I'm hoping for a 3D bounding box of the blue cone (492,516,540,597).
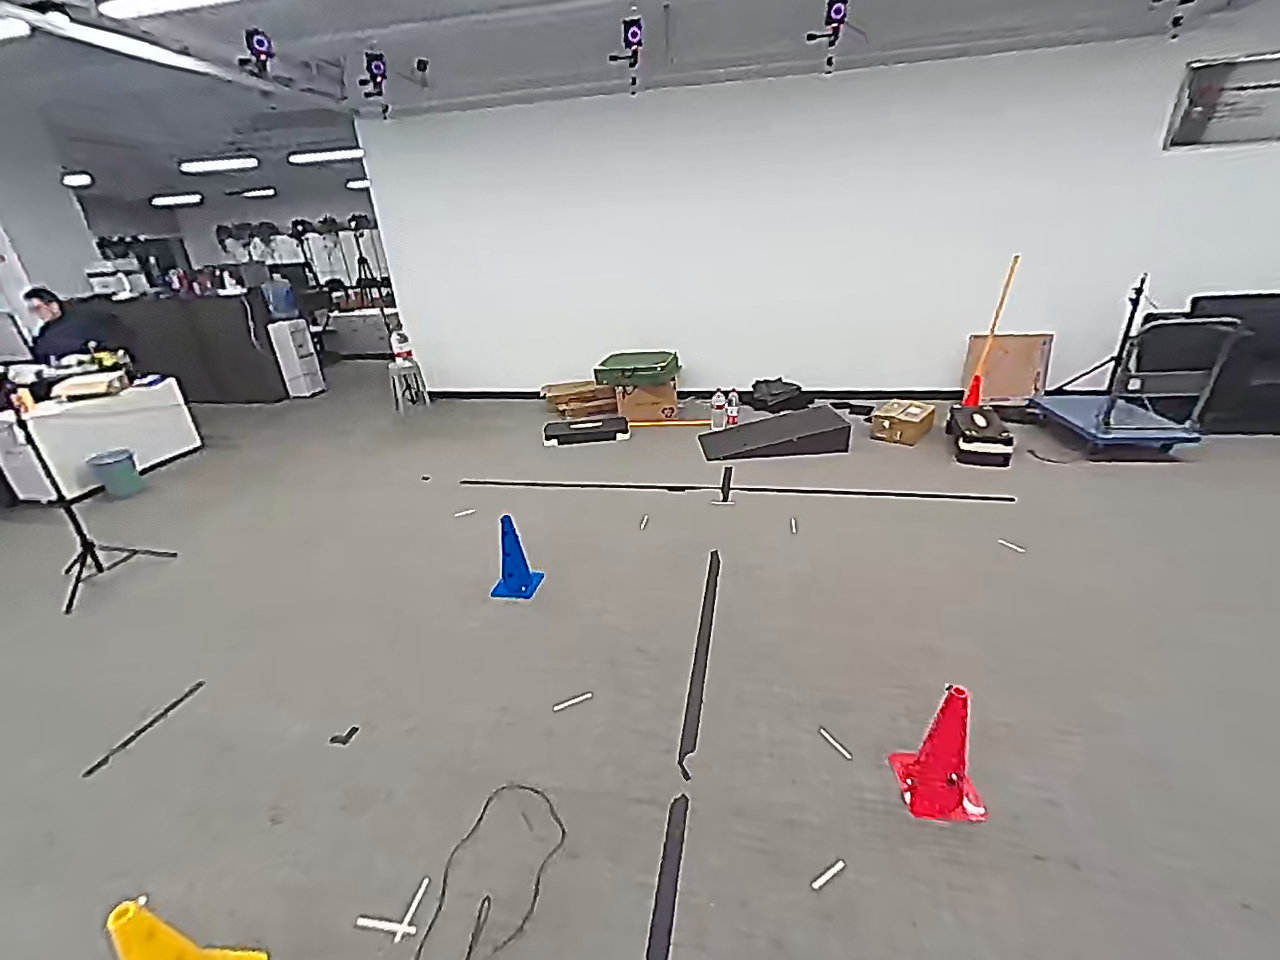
[{"bbox_3d":[-0.582,0.332,2.425,0.192,0.380,0.193,1,25,13],"label":"blue cone"}]

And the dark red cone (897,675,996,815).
[{"bbox_3d":[0.823,0.672,1.420,0.201,0.394,0.202,-2,24,5],"label":"dark red cone"}]
